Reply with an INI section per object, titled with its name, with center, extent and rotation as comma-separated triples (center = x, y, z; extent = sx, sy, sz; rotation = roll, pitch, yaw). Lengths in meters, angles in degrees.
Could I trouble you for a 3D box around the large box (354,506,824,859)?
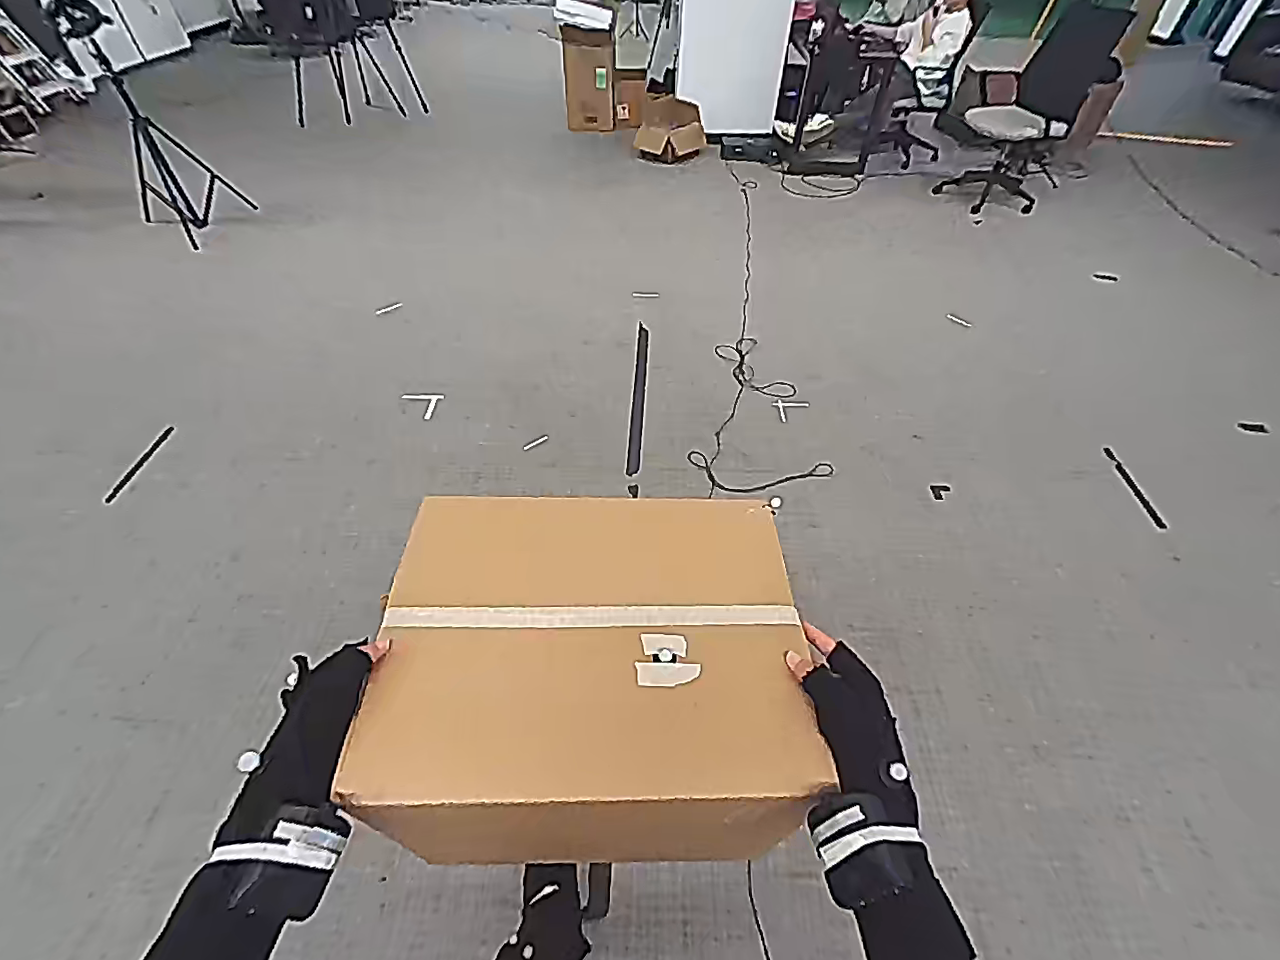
[large box]
center = -0.052, 0.247, 0.659
extent = 0.408, 0.320, 0.320
rotation = 1, 48, -3
